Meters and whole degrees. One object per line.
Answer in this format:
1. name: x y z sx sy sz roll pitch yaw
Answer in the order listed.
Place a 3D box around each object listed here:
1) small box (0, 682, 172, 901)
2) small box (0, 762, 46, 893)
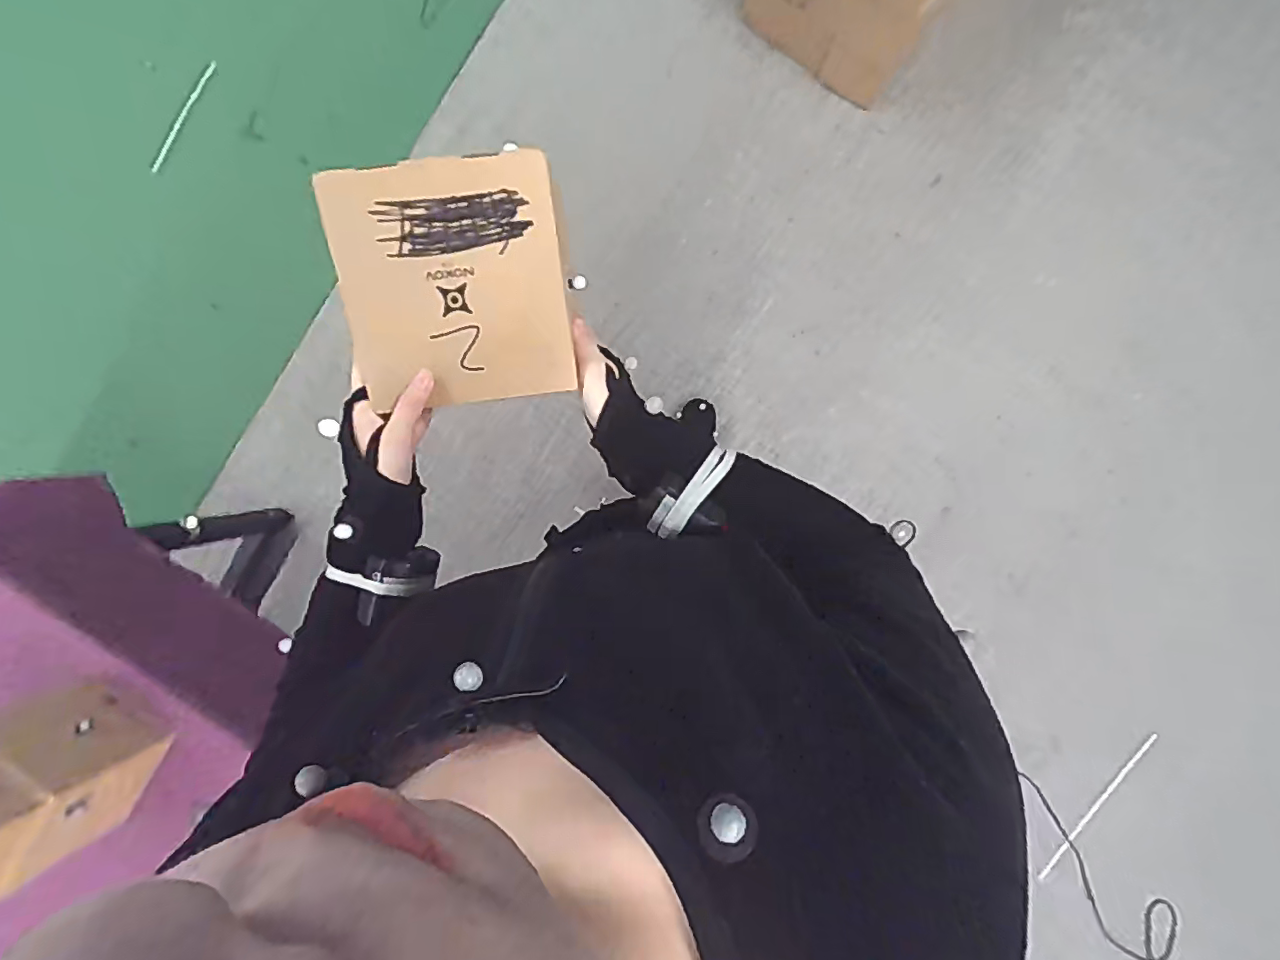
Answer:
1. small box: -0.838 0.429 0.778 0.168 0.176 0.179 33 96 3
2. small box: -0.861 0.441 0.617 0.168 0.176 0.179 33 94 3
